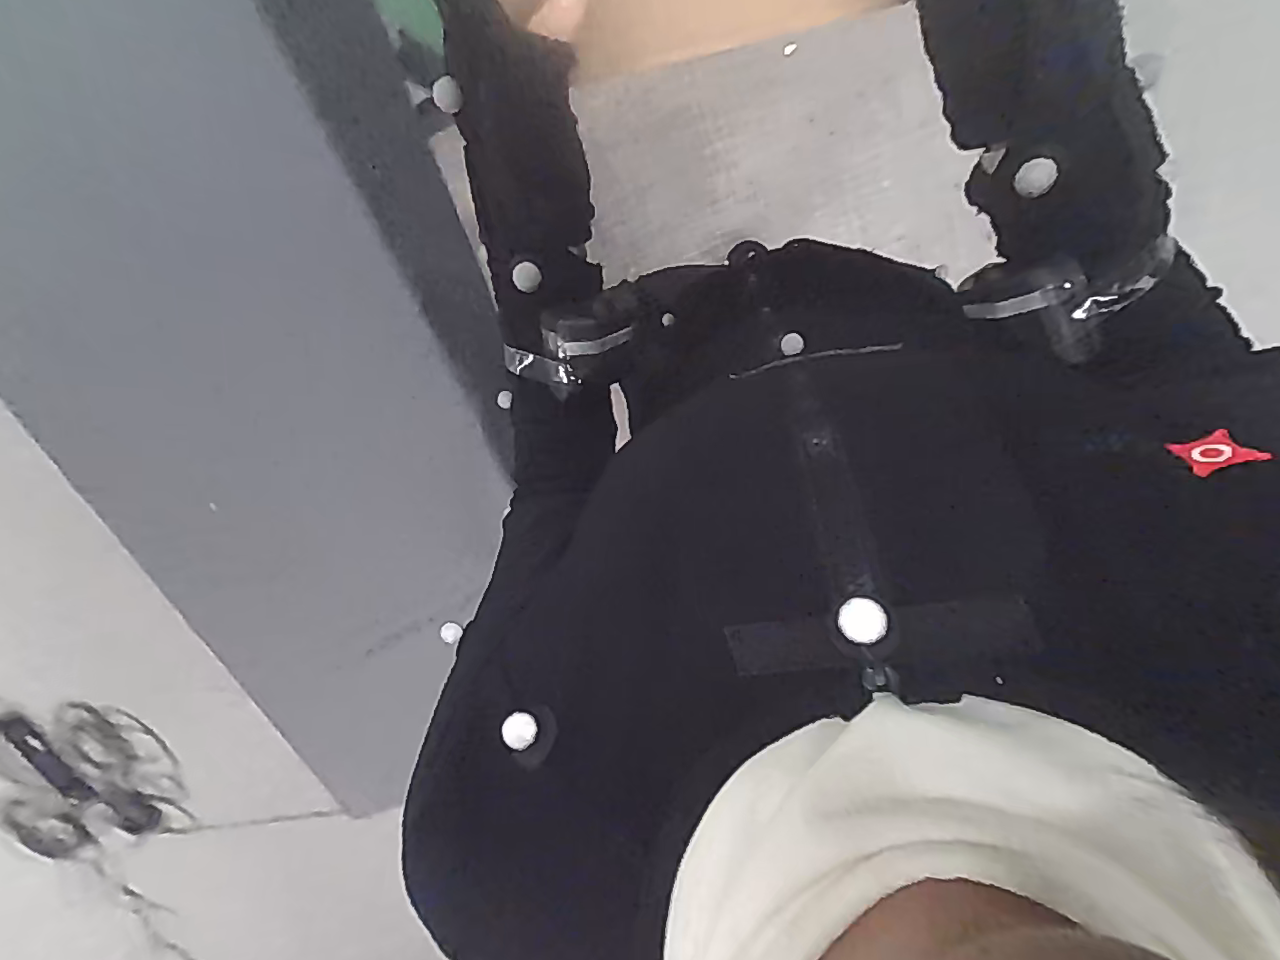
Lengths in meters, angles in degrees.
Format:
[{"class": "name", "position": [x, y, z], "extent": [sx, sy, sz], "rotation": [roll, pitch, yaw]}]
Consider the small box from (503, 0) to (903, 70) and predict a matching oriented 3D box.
[{"class": "small box", "position": [0.023, -0.306, 0.208], "extent": [0.179, 0.176, 0.168], "rotation": [4, 154, 17]}]
